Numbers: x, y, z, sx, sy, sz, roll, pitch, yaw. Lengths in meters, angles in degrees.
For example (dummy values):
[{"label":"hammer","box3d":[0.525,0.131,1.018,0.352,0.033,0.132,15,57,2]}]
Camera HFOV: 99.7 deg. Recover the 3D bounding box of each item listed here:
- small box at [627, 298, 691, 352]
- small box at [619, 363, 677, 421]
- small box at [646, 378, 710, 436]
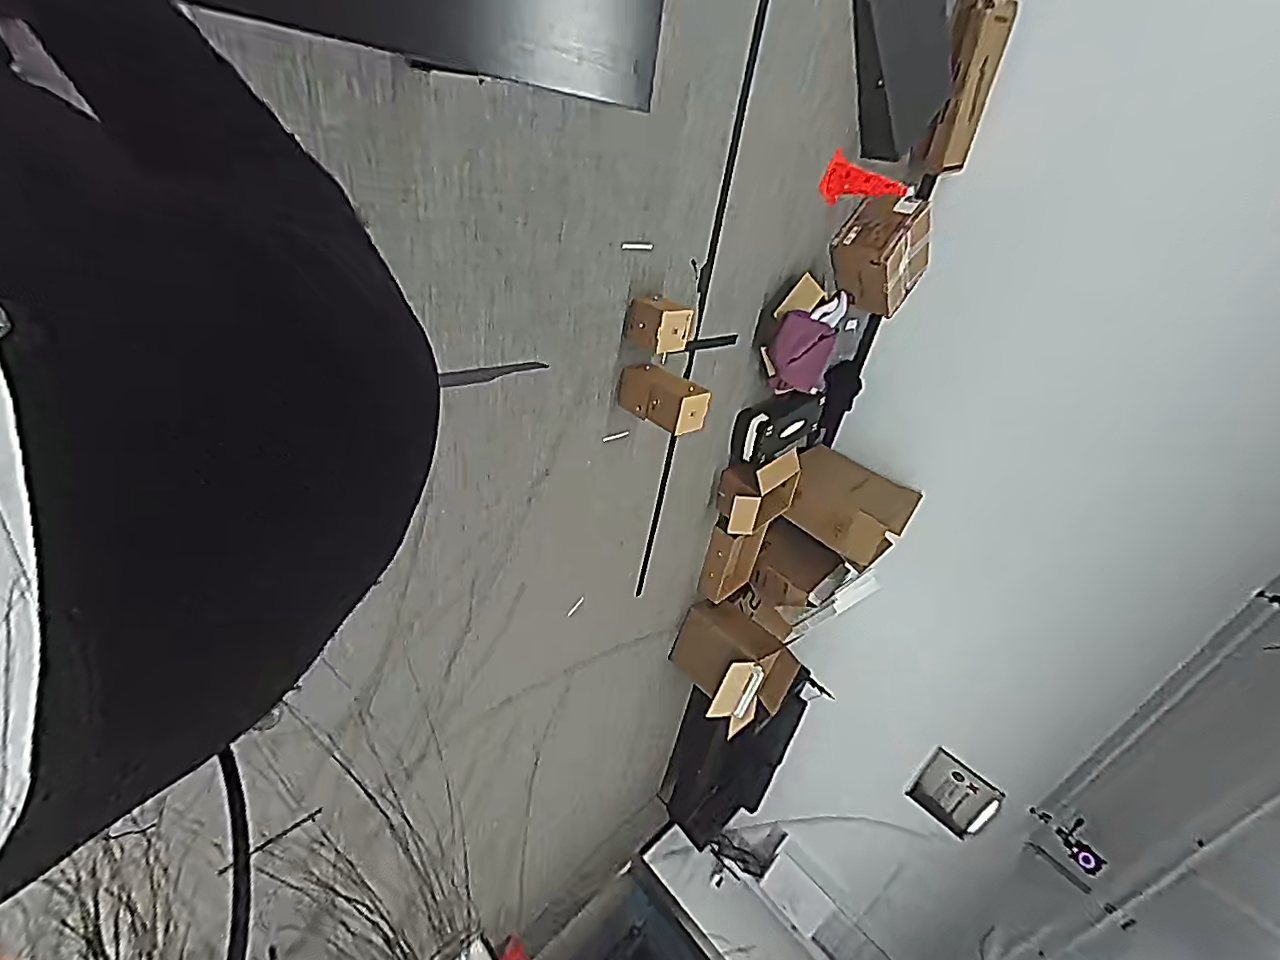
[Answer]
[{"label":"small box","box3d":[0.069,-0.611,2.120,0.179,0.176,0.168,-19,132,-42]},{"label":"small box","box3d":[0.029,-0.373,2.276,0.168,0.176,0.179,-22,135,-40]},{"label":"small box","box3d":[0.150,-0.303,2.192,0.179,0.176,0.168,-19,132,-40]}]
